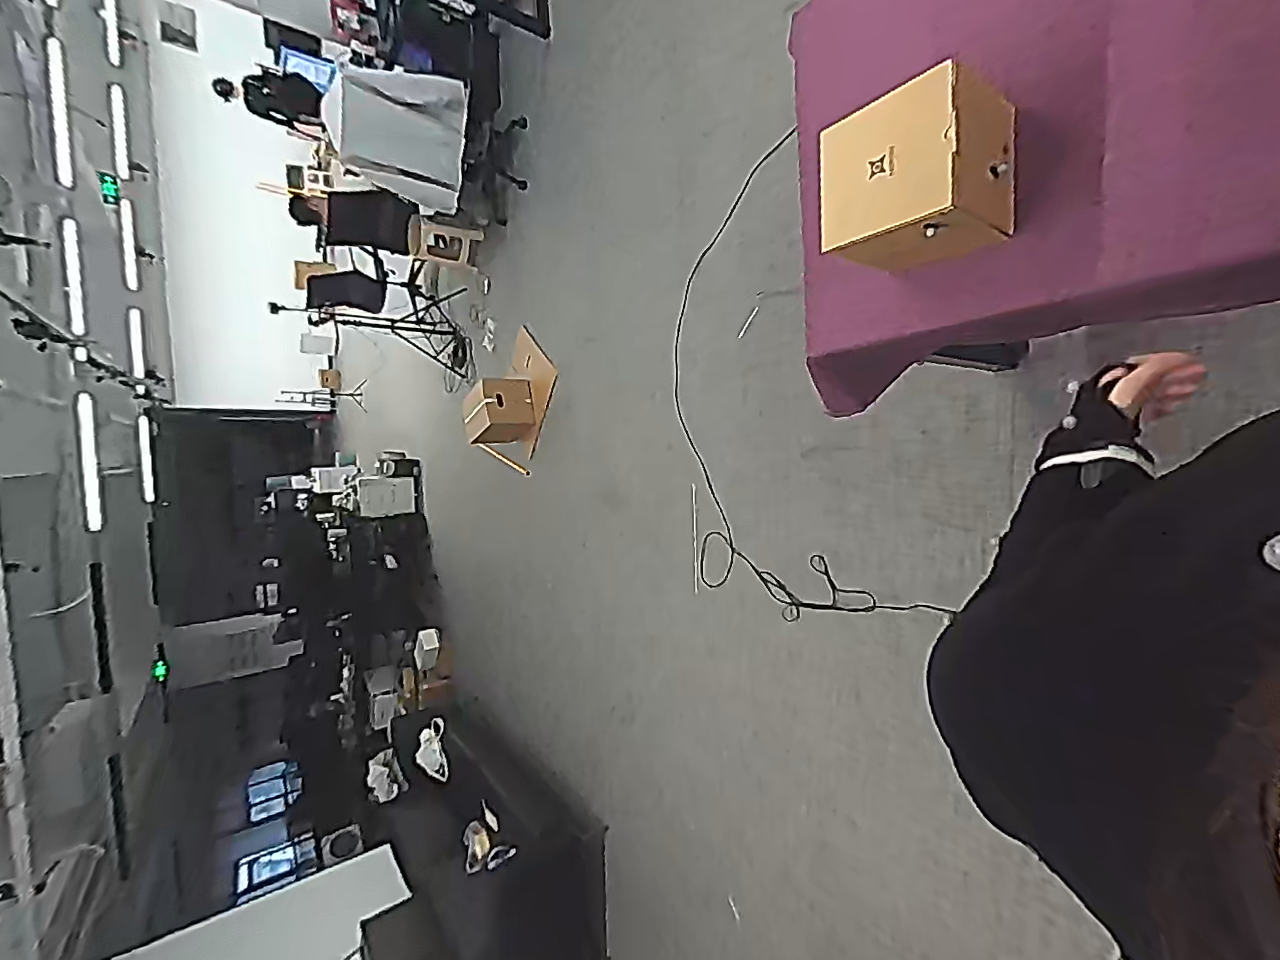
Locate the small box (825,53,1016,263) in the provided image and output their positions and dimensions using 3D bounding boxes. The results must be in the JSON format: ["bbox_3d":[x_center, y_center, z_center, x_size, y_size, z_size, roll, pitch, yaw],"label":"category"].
[{"bbox_3d":[0.374,-0.410,0.730,0.179,0.176,0.168,2,95,54],"label":"small box"}]
